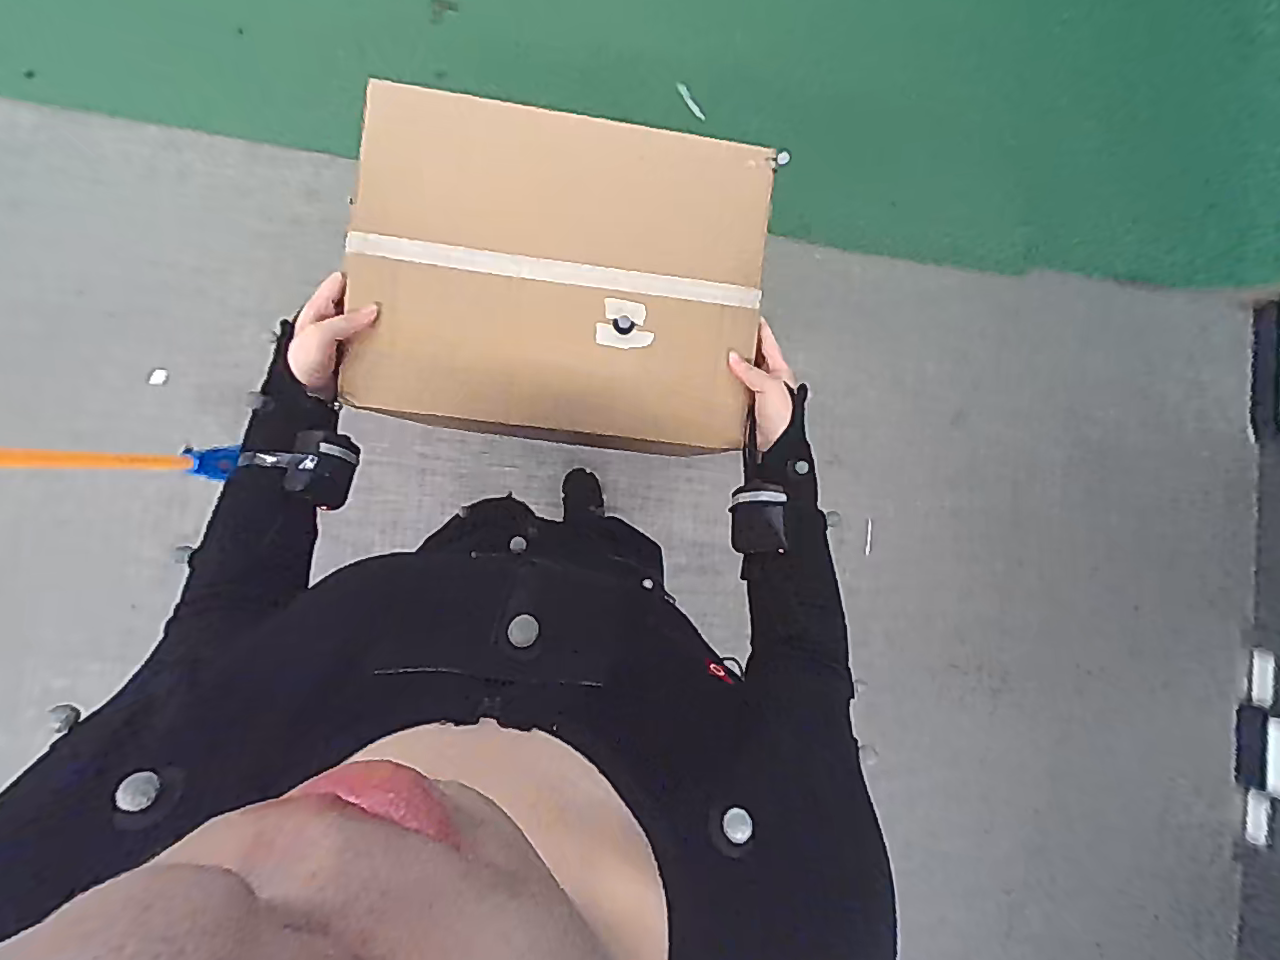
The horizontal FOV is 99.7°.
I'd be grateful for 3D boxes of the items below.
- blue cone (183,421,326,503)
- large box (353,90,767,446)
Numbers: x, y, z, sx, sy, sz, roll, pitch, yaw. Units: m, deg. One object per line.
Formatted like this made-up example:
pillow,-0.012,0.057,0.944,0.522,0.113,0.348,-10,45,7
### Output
blue cone,-0.893,-0.051,1.221,0.193,0.380,0.192,15,86,-9
large box,-0.092,-0.216,0.693,0.408,0.320,0.320,5,91,-7
